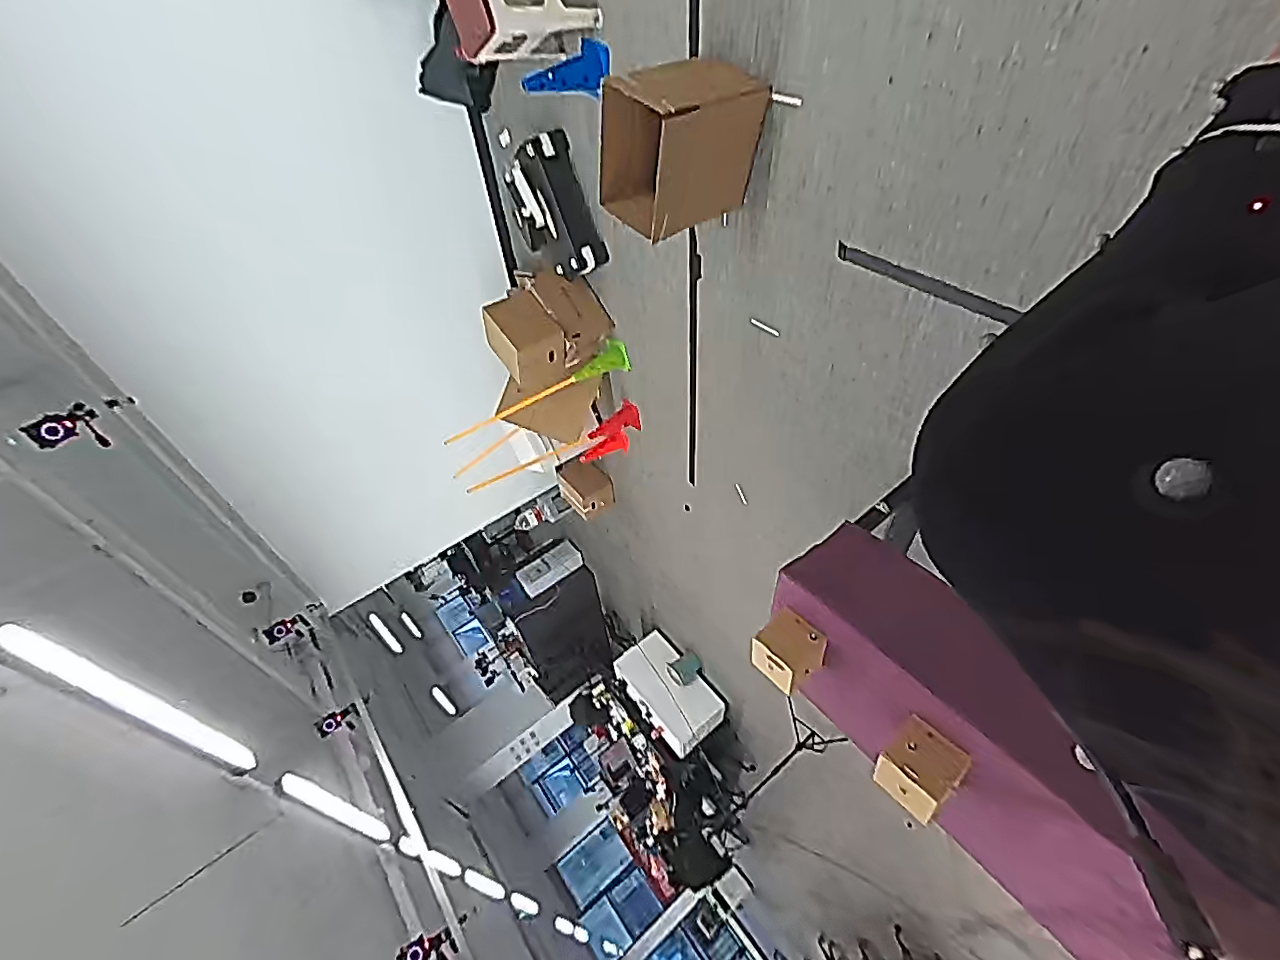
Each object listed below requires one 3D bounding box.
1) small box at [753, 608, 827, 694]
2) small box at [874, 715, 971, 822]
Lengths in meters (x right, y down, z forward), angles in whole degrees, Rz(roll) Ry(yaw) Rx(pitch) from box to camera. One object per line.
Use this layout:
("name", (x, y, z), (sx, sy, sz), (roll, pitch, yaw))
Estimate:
("small box", (0.491, 0.556, 1.776), (0.168, 0.176, 0.179), (38, 151, 38))
("small box", (0.784, 0.795, 1.503), (0.168, 0.176, 0.179), (36, 150, 42))
